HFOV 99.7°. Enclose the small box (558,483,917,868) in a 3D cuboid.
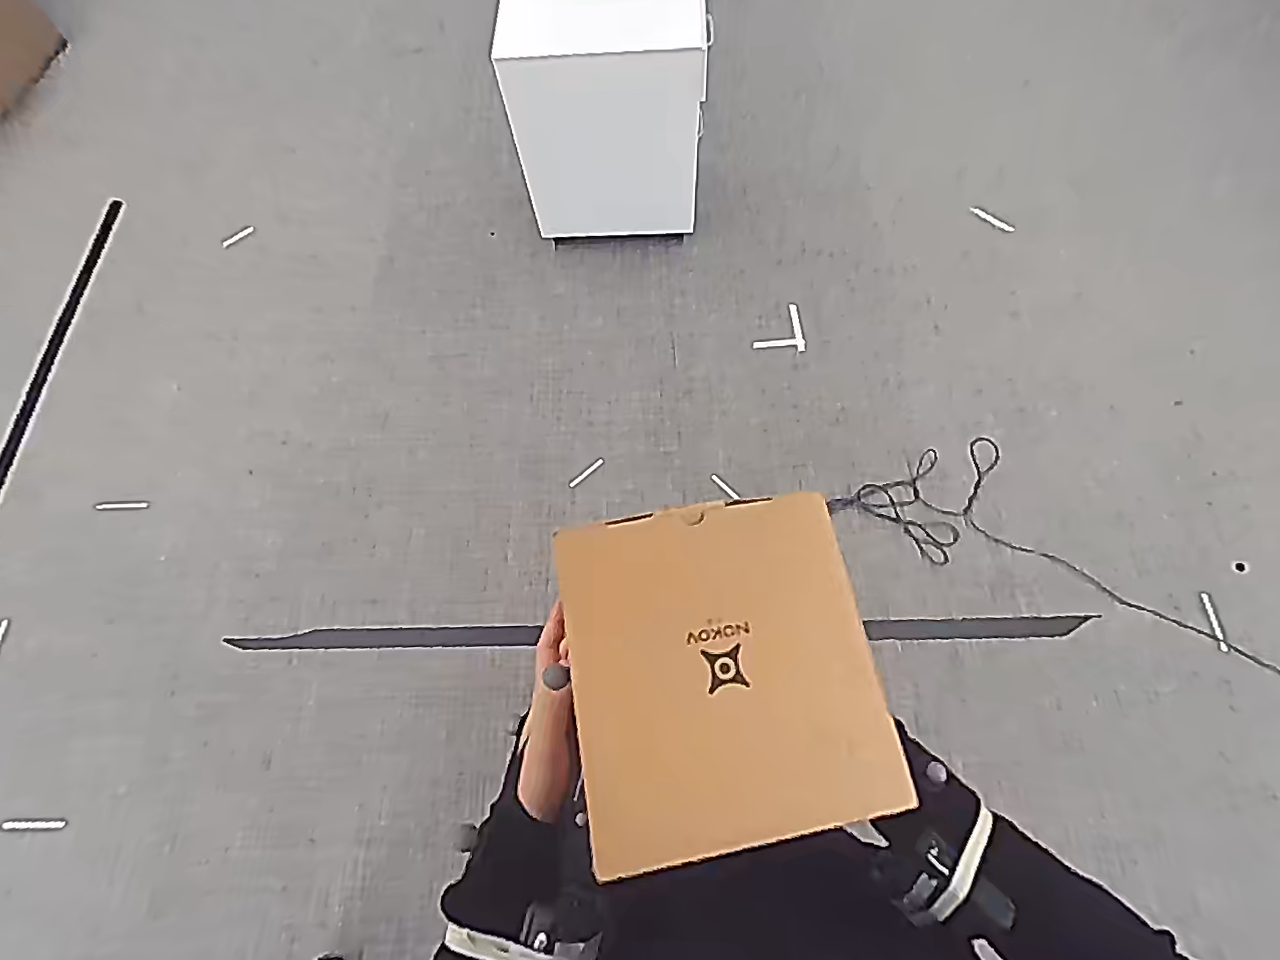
[{"bbox_3d":[0.042,0.120,0.364,0.168,0.176,0.179,-8,69,-7],"label":"small box"}]
